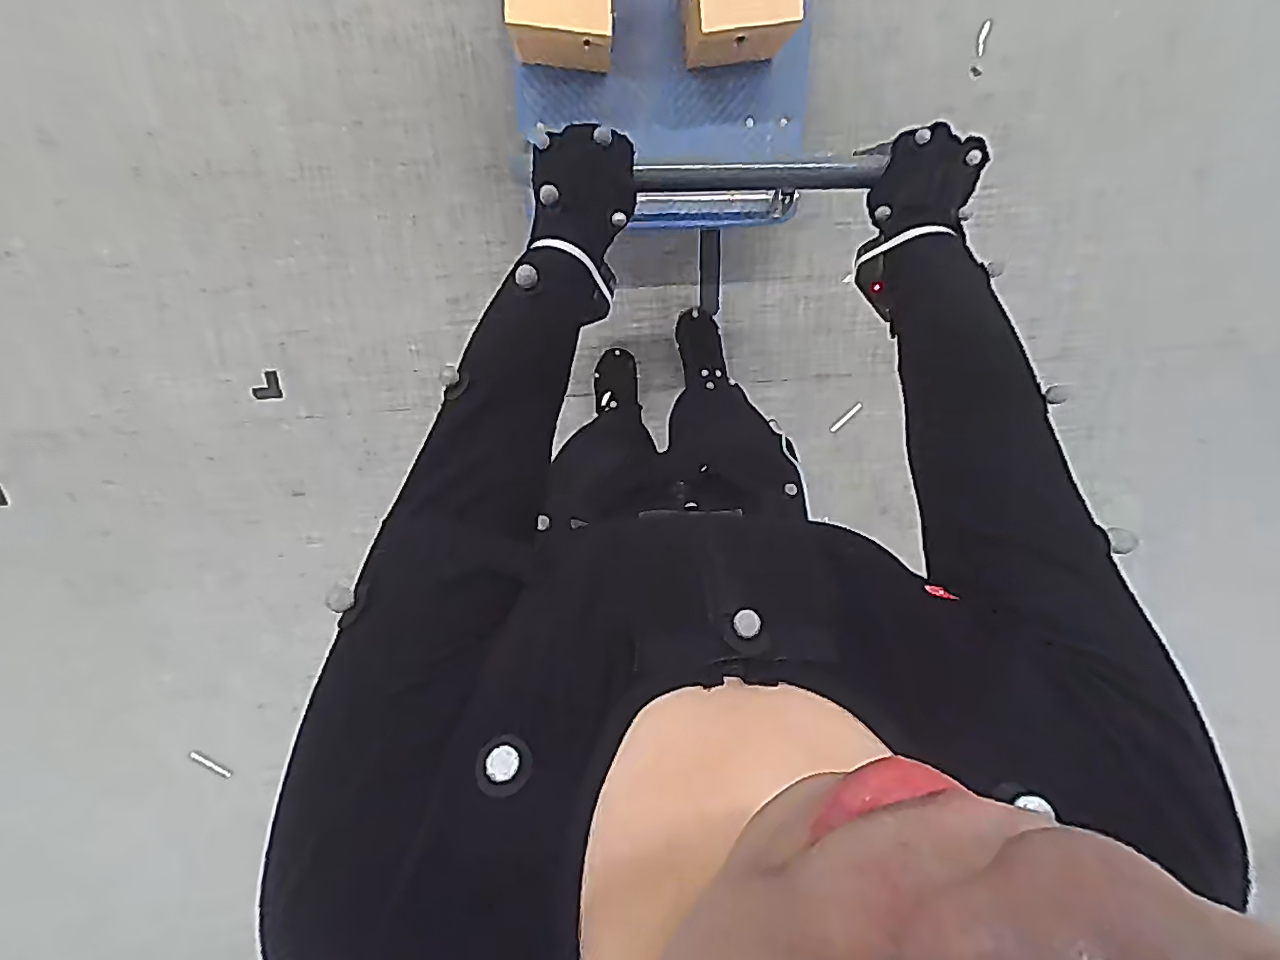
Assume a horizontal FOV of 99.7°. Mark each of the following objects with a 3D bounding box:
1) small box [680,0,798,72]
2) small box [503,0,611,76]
[{"bbox_3d":[0.166,-0.855,0.959,0.179,0.176,0.168,-8,111,-2],"label":"small box"},{"bbox_3d":[-0.139,-0.835,0.940,0.179,0.176,0.168,1,110,-7],"label":"small box"}]
